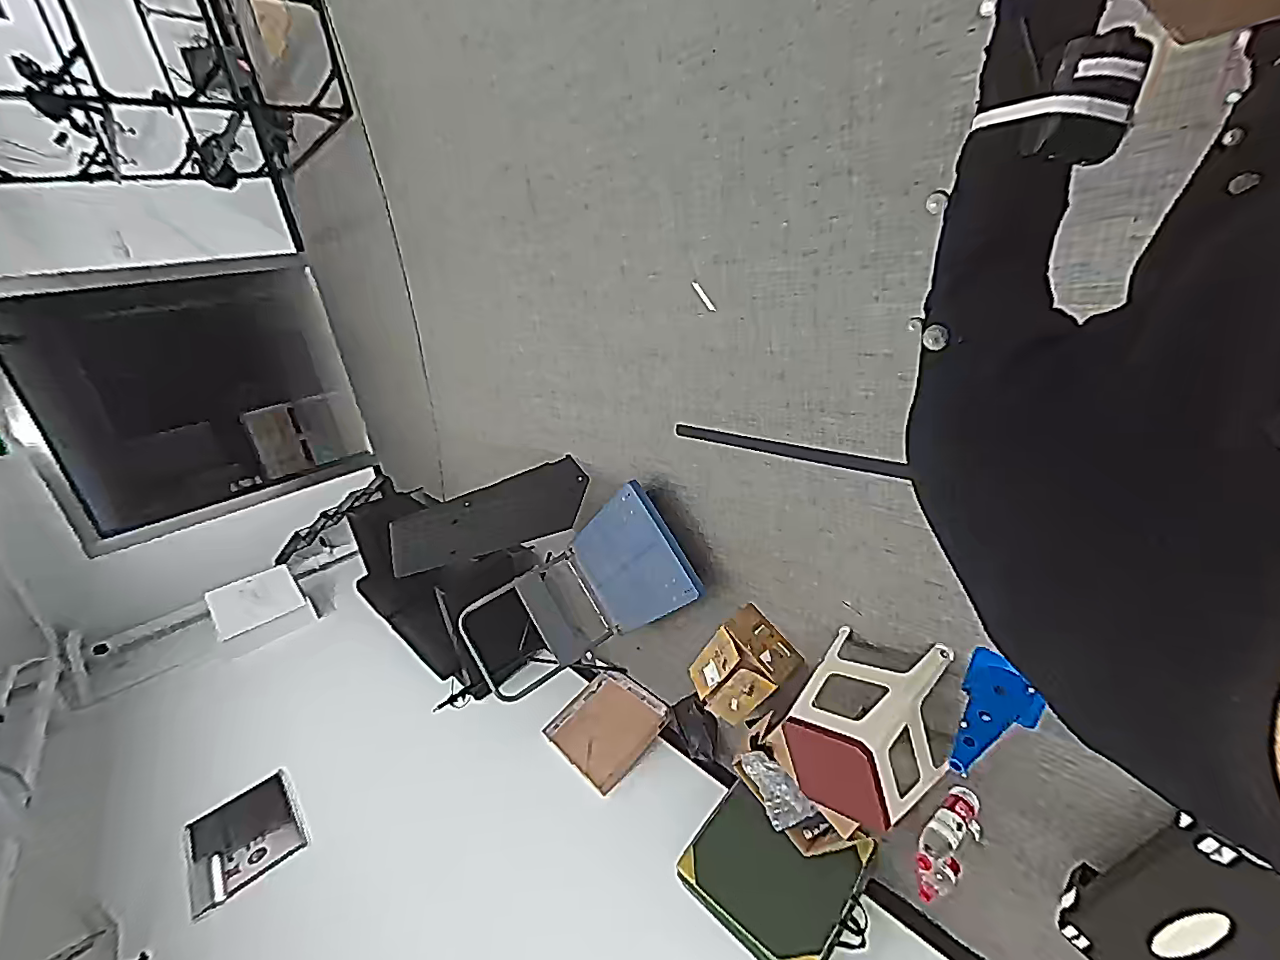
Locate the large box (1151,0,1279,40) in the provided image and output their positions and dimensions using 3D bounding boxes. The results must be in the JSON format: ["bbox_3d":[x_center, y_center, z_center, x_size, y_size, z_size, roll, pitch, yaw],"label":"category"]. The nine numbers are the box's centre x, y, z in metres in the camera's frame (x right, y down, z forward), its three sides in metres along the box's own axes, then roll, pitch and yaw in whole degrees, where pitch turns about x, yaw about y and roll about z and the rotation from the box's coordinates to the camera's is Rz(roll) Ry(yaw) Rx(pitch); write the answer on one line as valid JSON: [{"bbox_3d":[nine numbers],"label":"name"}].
[{"bbox_3d":[0.512,-0.474,0.231,0.408,0.320,0.320,13,121,45],"label":"large box"}]
